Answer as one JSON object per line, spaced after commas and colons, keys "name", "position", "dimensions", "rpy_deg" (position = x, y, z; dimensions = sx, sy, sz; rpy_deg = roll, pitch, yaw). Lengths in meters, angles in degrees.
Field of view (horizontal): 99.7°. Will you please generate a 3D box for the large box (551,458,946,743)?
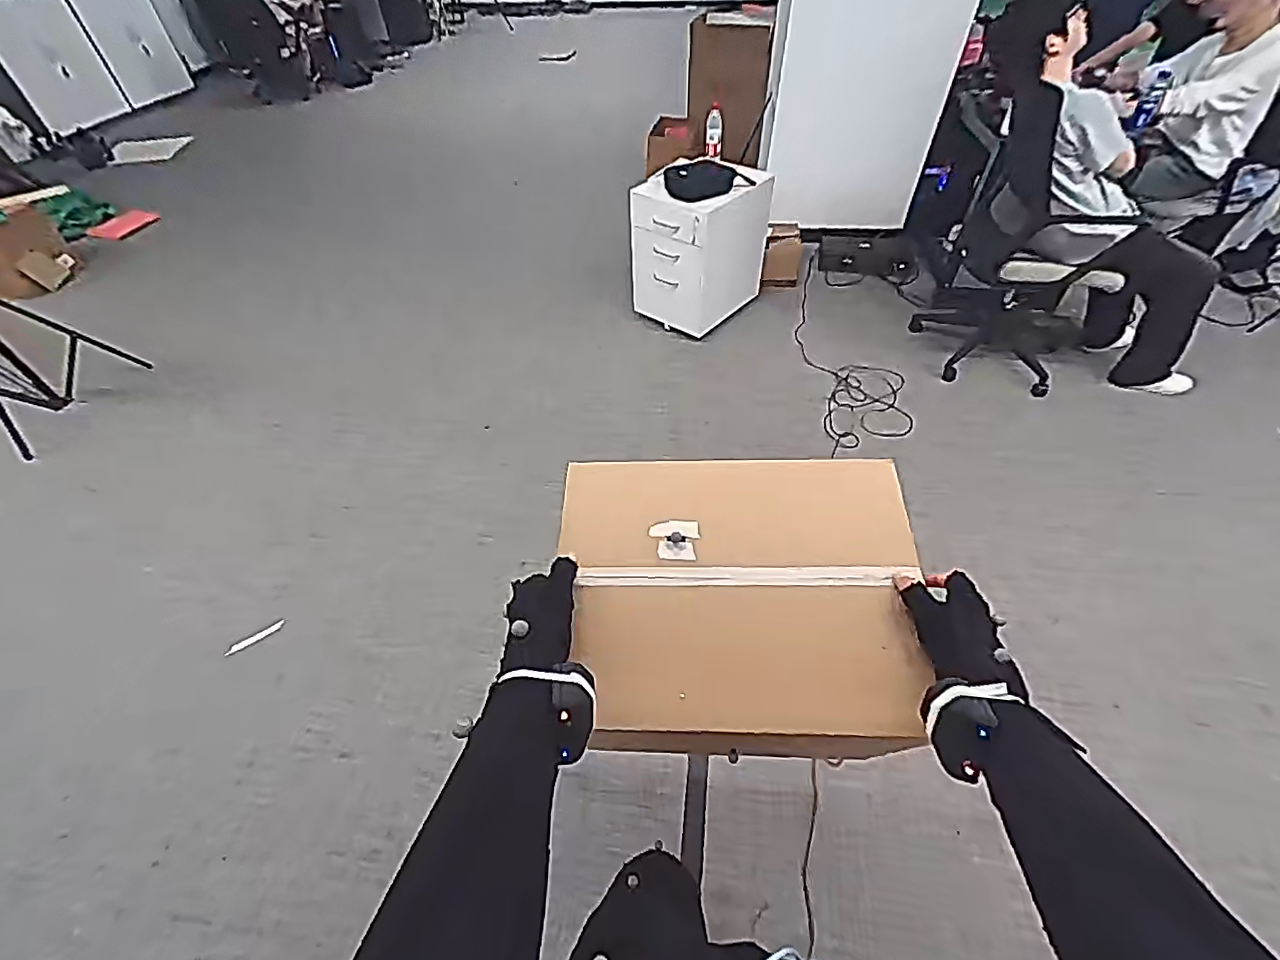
{"name": "large box", "position": [0.121, 0.184, 0.746], "dimensions": [0.408, 0.320, 0.320], "rpy_deg": [-1, 59, 5]}
